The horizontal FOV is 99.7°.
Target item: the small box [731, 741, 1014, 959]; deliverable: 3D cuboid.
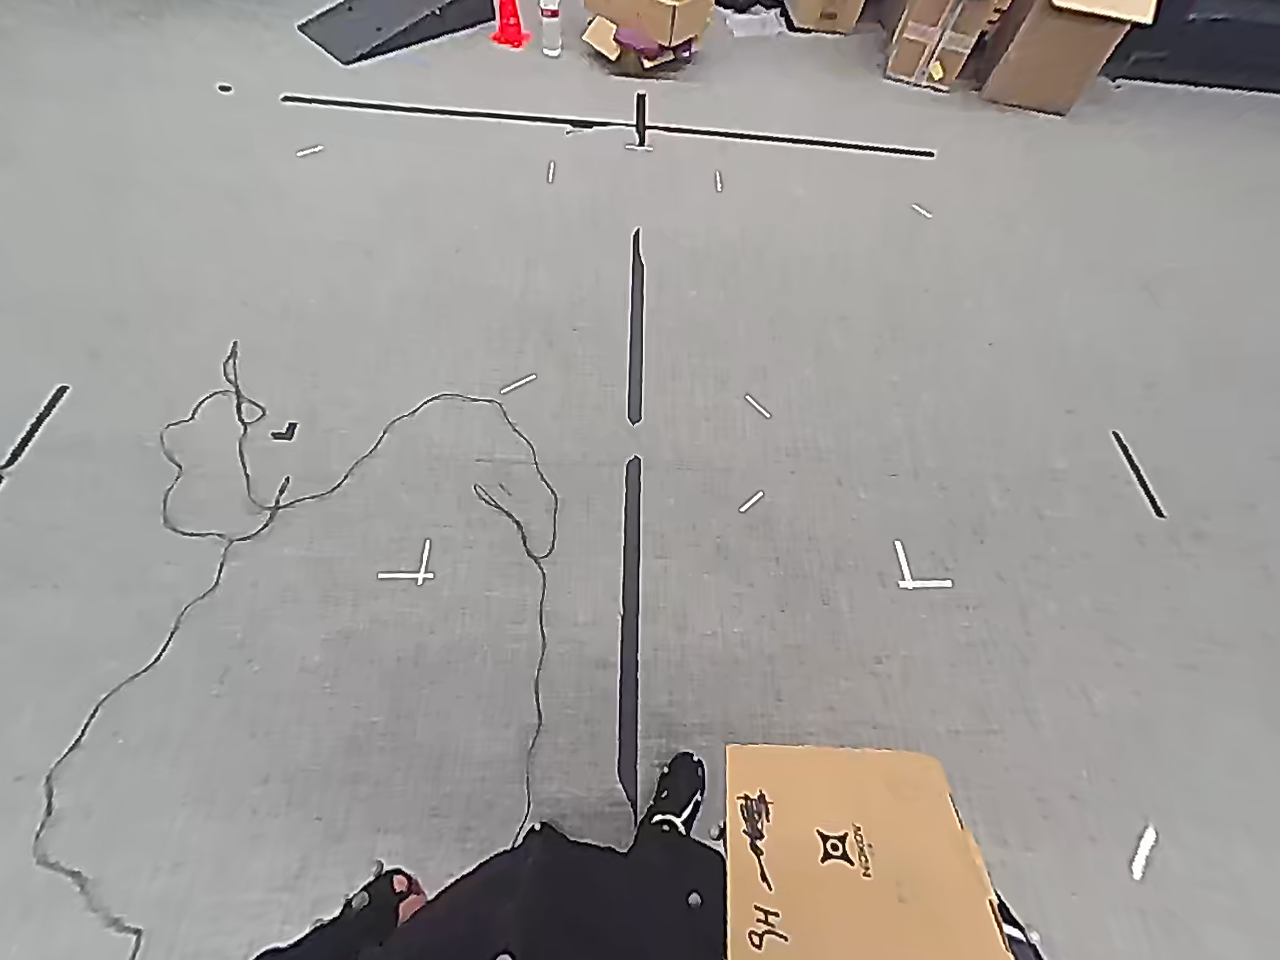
[{"bbox_3d":[0.164,0.346,0.439,0.179,0.176,0.168,0,26,10],"label":"small box"}]
